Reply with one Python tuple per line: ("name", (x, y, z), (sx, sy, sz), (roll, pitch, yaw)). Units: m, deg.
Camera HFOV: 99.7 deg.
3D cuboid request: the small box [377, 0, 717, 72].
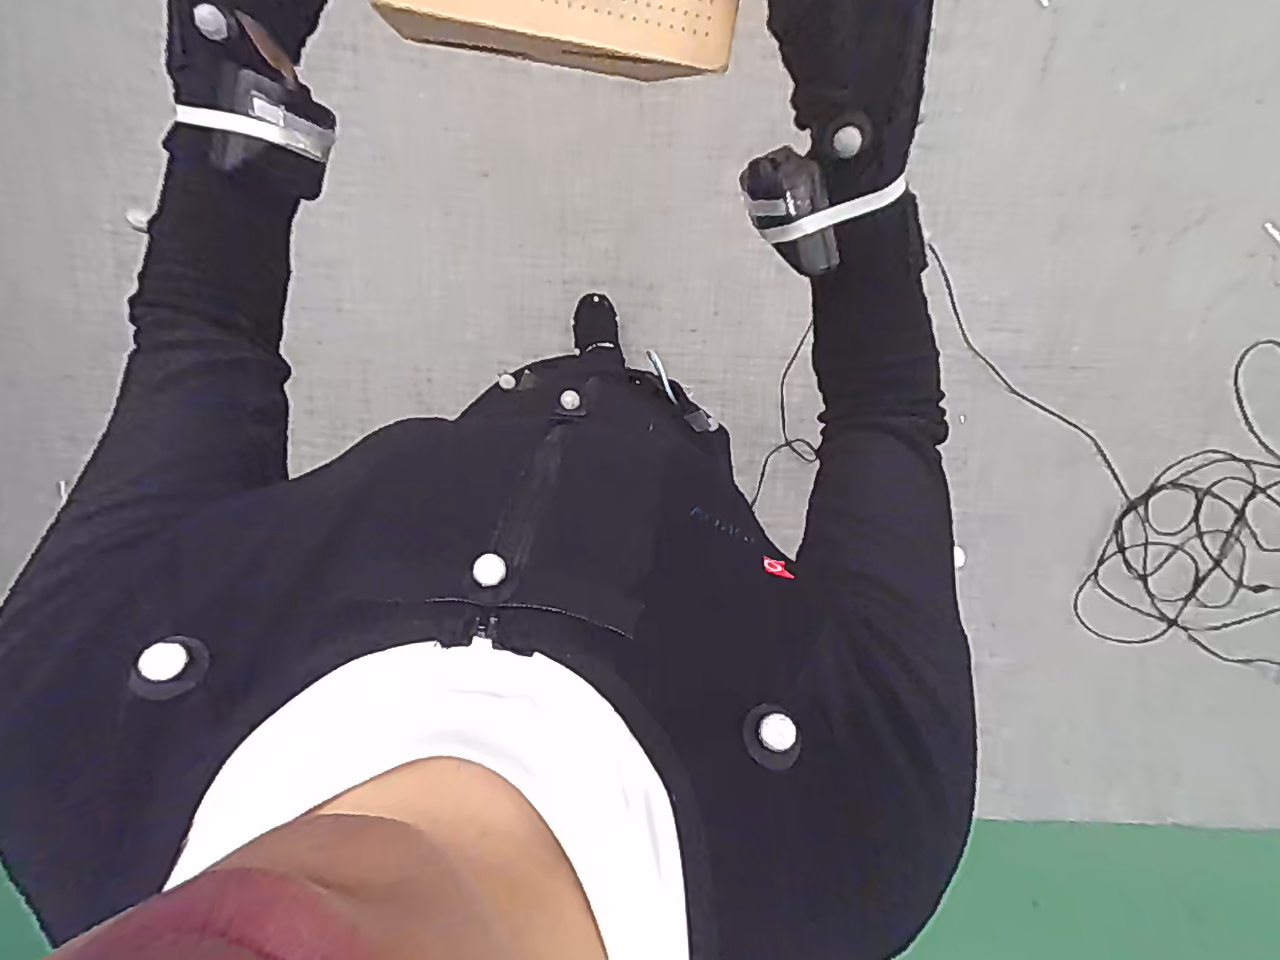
("small box", (-0.046, -0.336, 0.289), (0.179, 0.168, 0.176), (-1, 124, -16))
